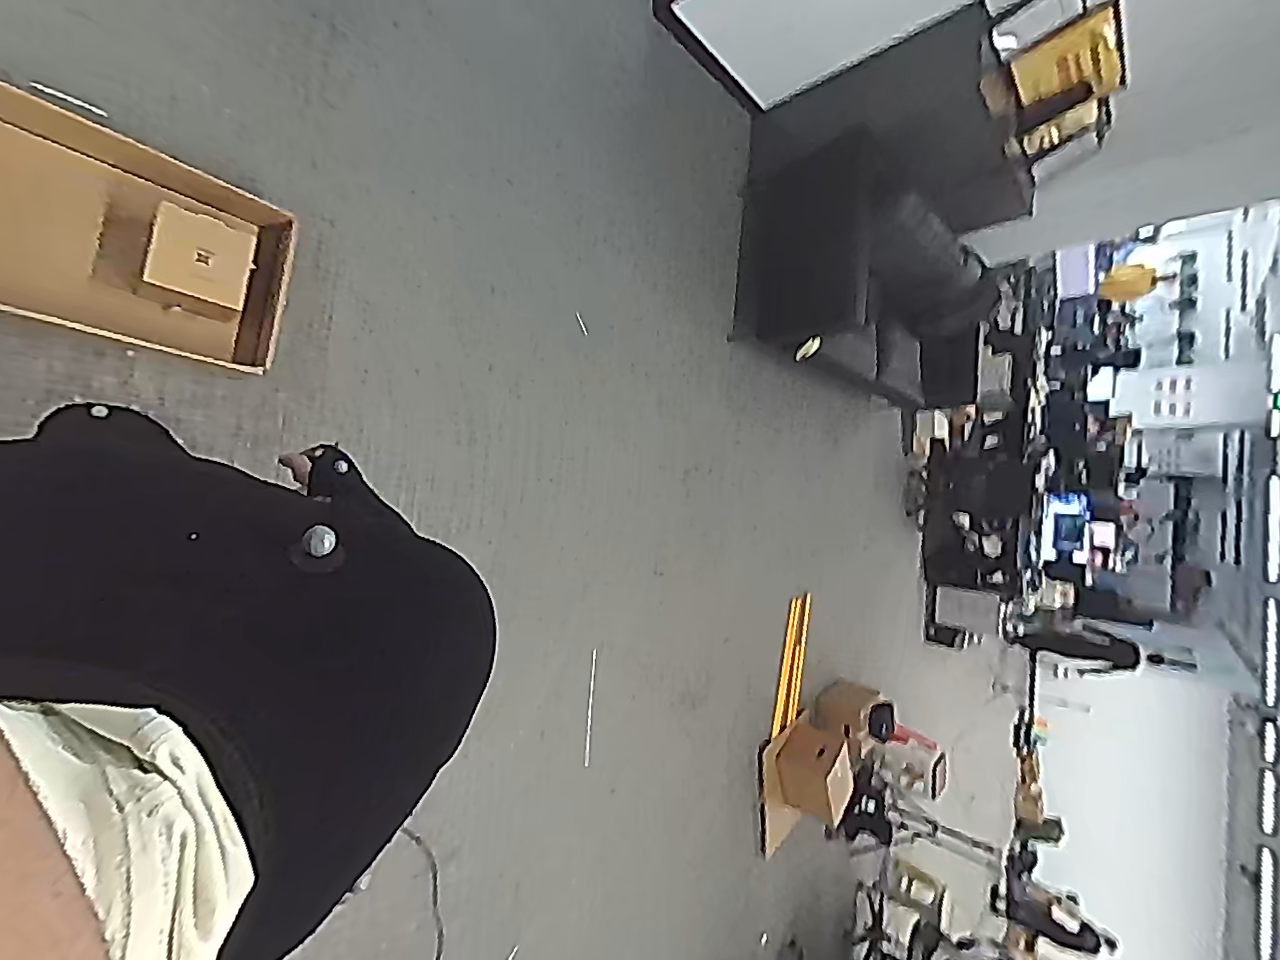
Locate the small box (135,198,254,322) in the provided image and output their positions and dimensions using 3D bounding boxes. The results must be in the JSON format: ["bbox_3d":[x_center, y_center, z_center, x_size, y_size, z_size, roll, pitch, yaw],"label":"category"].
[{"bbox_3d":[-0.978,-0.470,1.184,0.168,0.176,0.179,13,82,-45],"label":"small box"}]
